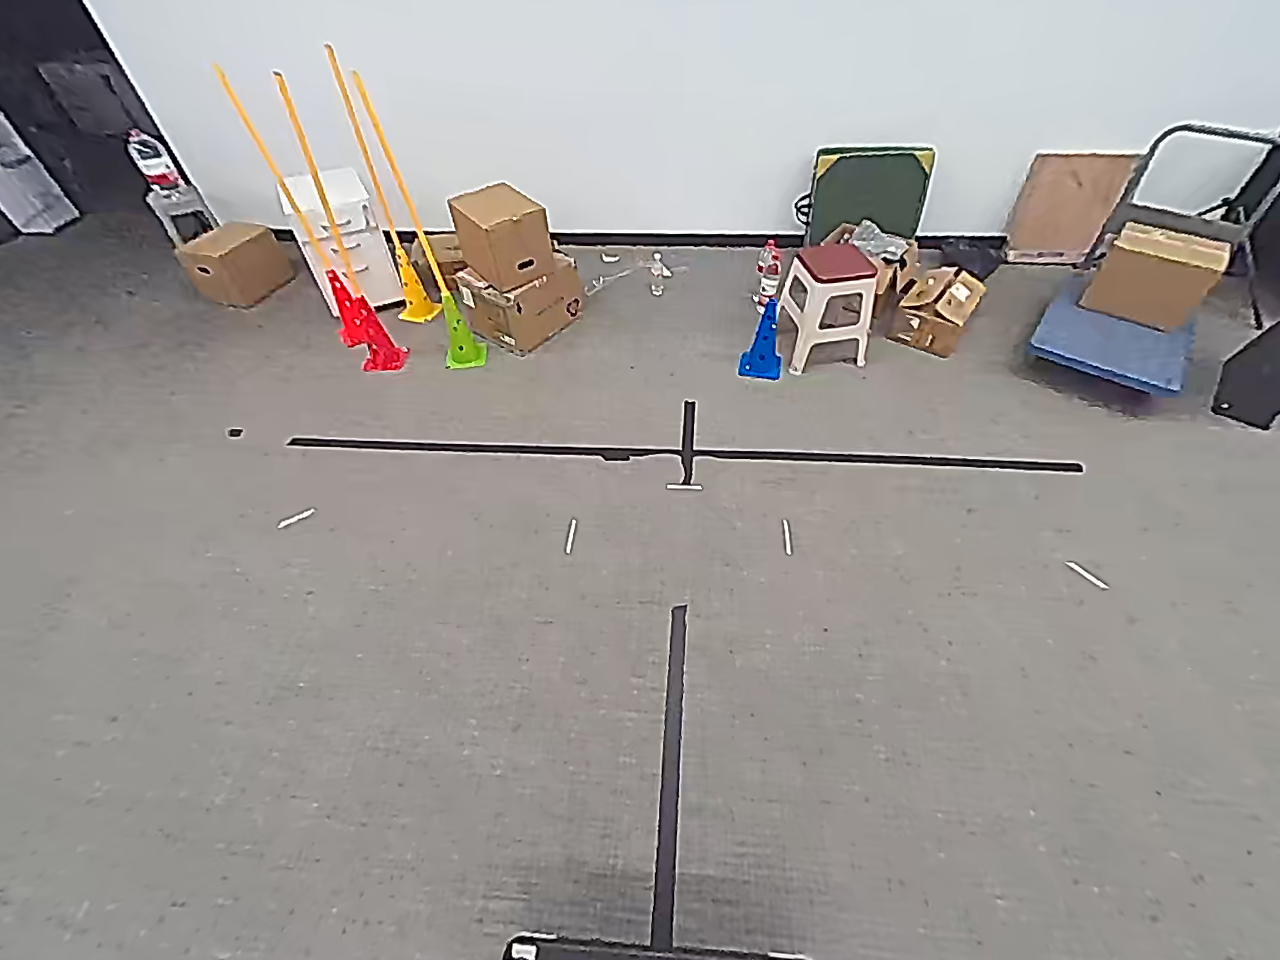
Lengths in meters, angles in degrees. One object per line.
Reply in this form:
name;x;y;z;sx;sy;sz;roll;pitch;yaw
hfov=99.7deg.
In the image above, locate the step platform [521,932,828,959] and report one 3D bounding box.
step platform;0.072;1.113;1.085;0.684;0.204;0.286;2;48;2
